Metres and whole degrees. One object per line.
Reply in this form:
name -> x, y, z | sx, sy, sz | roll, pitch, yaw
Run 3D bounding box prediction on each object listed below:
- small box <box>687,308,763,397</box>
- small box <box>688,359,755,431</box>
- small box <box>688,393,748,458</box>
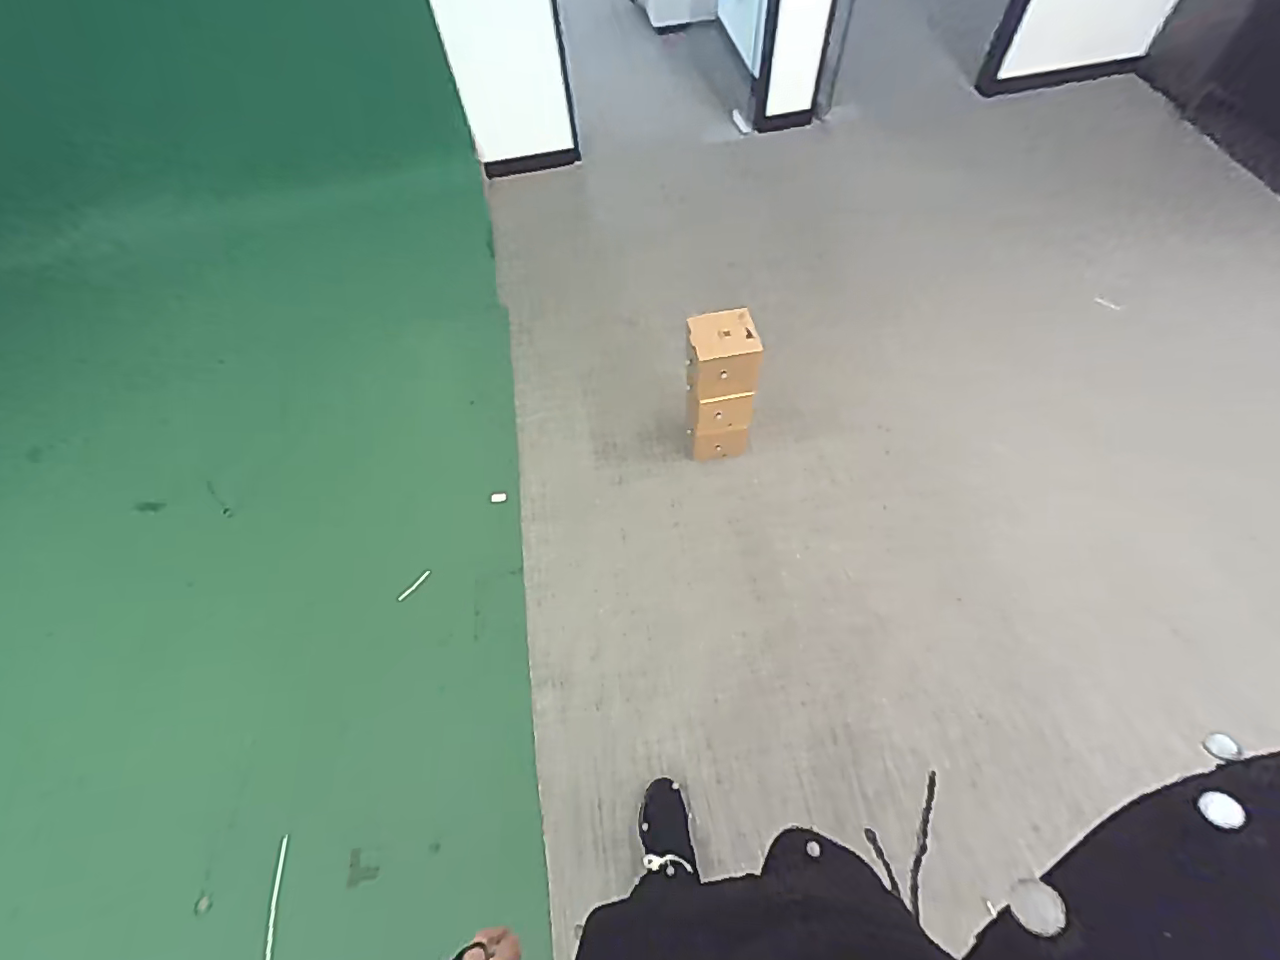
small box -> 0.235, -0.354, 1.528 | 0.179, 0.176, 0.168 | -11, 60, 0
small box -> 0.247, -0.269, 1.668 | 0.168, 0.176, 0.179 | -11, 60, -1
small box -> 0.256, -0.188, 1.809 | 0.168, 0.176, 0.179 | -9, 60, -1
